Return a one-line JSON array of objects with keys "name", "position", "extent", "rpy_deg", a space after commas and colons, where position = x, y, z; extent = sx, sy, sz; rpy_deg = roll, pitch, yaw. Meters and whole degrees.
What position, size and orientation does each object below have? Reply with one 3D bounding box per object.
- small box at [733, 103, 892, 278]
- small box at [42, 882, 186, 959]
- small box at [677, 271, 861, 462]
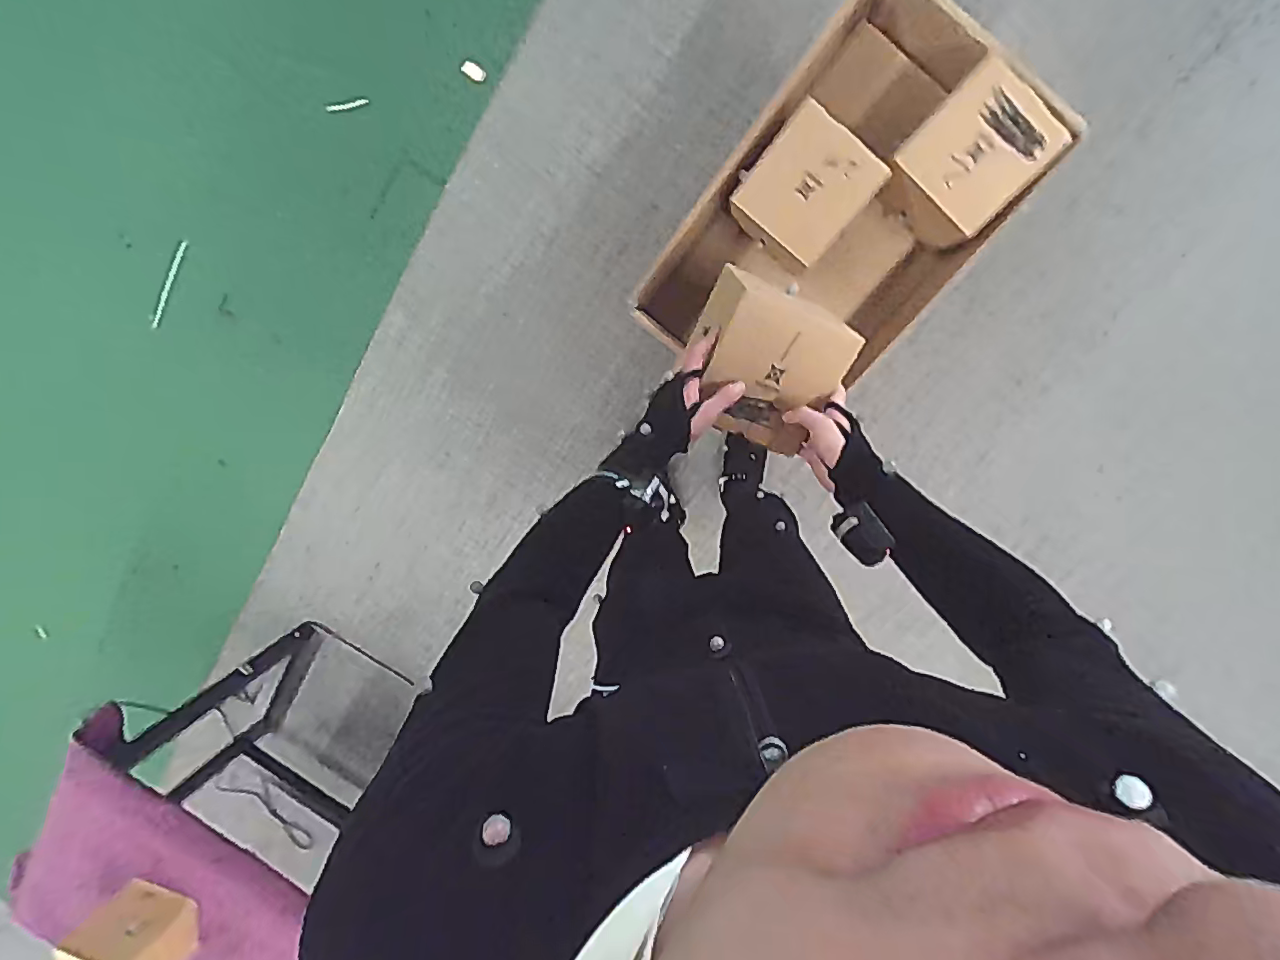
[{"name": "small box", "position": [0.273, -0.457, 0.892], "extent": [0.168, 0.176, 0.179], "rpy_deg": [41, 107, -3]}, {"name": "small box", "position": [-1.164, 1.057, 1.210], "extent": [0.168, 0.176, 0.179], "rpy_deg": [16, 107, 5]}, {"name": "small box", "position": [0.157, -0.158, 0.734], "extent": [0.168, 0.176, 0.179], "rpy_deg": [19, 118, -13]}]
